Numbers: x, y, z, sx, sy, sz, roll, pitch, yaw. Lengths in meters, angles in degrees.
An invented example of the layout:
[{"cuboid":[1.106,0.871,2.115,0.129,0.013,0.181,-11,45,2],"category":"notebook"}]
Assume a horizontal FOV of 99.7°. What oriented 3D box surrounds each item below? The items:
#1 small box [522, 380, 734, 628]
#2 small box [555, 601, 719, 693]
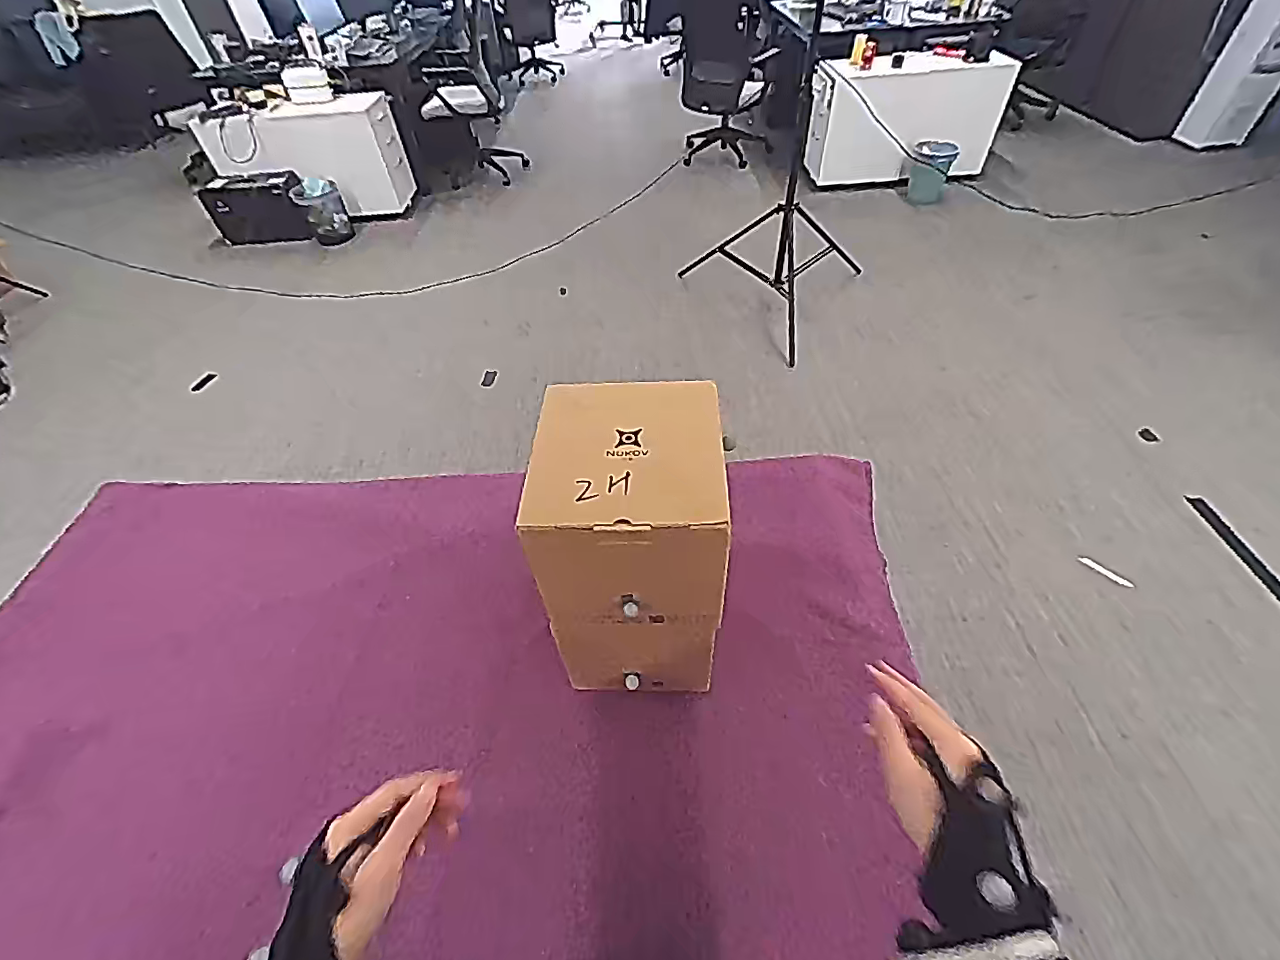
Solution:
[{"cuboid":[-0.002,0.023,0.524,0.168,0.176,0.179,-1,48,4],"category":"small box"},{"cuboid":[0.003,0.134,0.646,0.168,0.176,0.179,0,48,4],"category":"small box"}]
